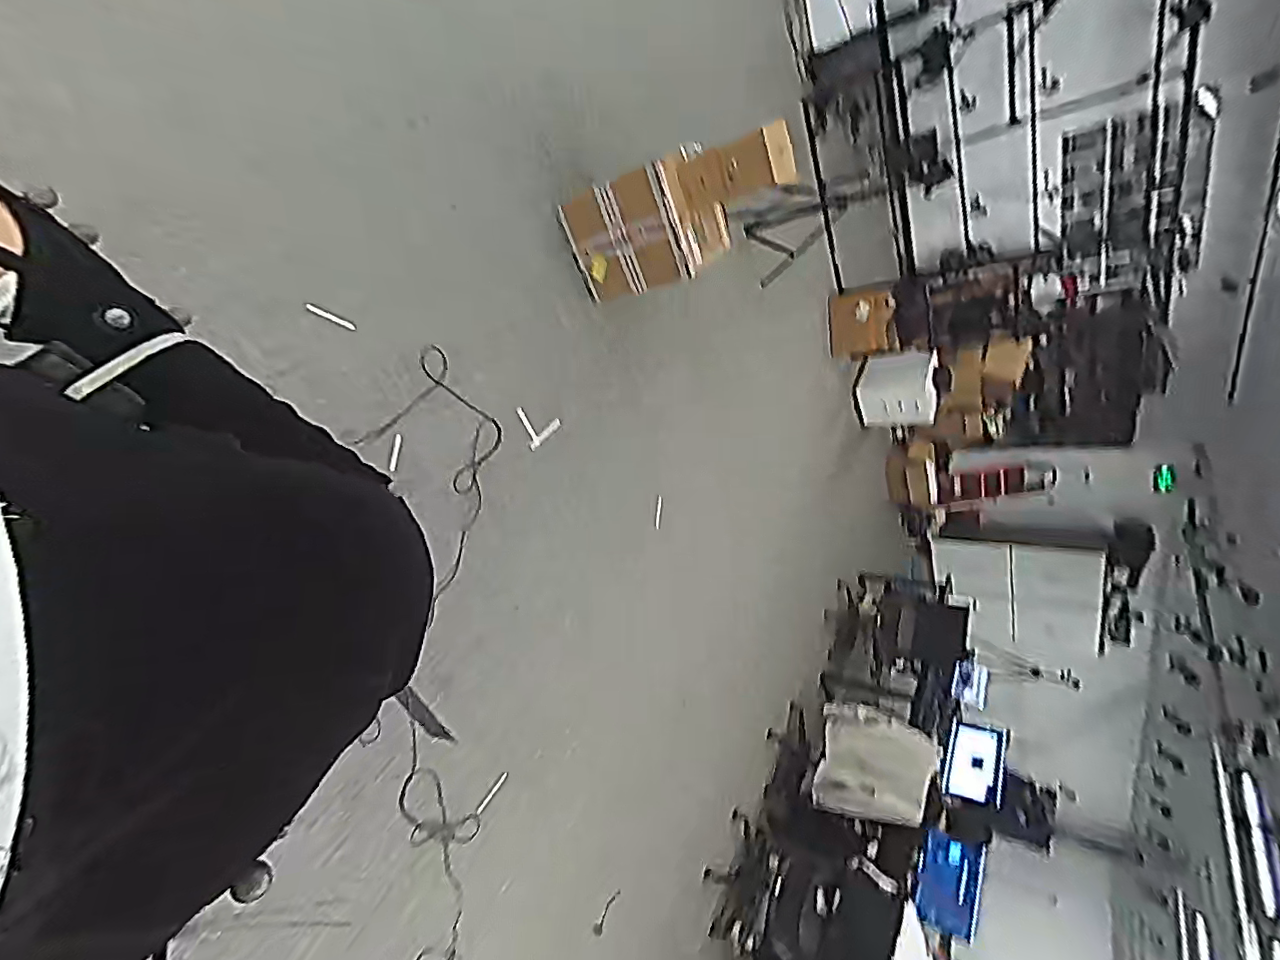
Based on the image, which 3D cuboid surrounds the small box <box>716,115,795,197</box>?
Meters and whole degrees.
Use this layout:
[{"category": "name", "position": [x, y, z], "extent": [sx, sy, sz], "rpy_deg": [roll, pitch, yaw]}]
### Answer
[{"category": "small box", "position": [0.369, -1.036, 1.733], "extent": [0.179, 0.176, 0.168], "rpy_deg": [-44, 122, -38]}]

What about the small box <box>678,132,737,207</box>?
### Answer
[{"category": "small box", "position": [0.246, -1.052, 1.840], "extent": [0.179, 0.176, 0.168], "rpy_deg": [-44, 123, -38]}]
